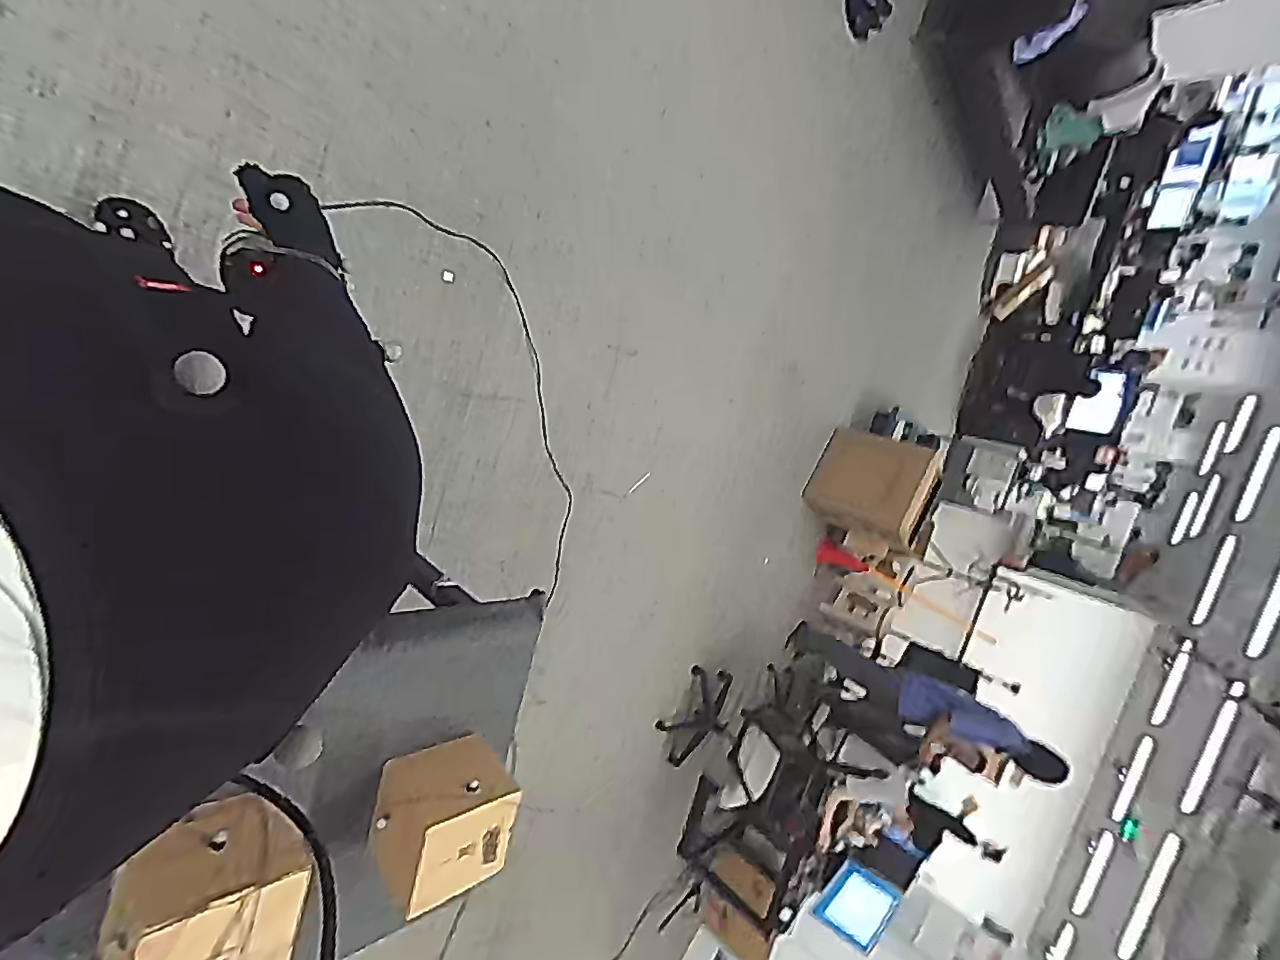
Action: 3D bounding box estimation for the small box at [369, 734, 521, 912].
[{"bbox_3d":[-0.341,0.578,0.943,0.179,0.176,0.168,6,102,-48],"label":"small box"}]

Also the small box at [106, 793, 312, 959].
[{"bbox_3d":[-0.553,0.539,0.692,0.168,0.176,0.179,9,99,-50],"label":"small box"}]
